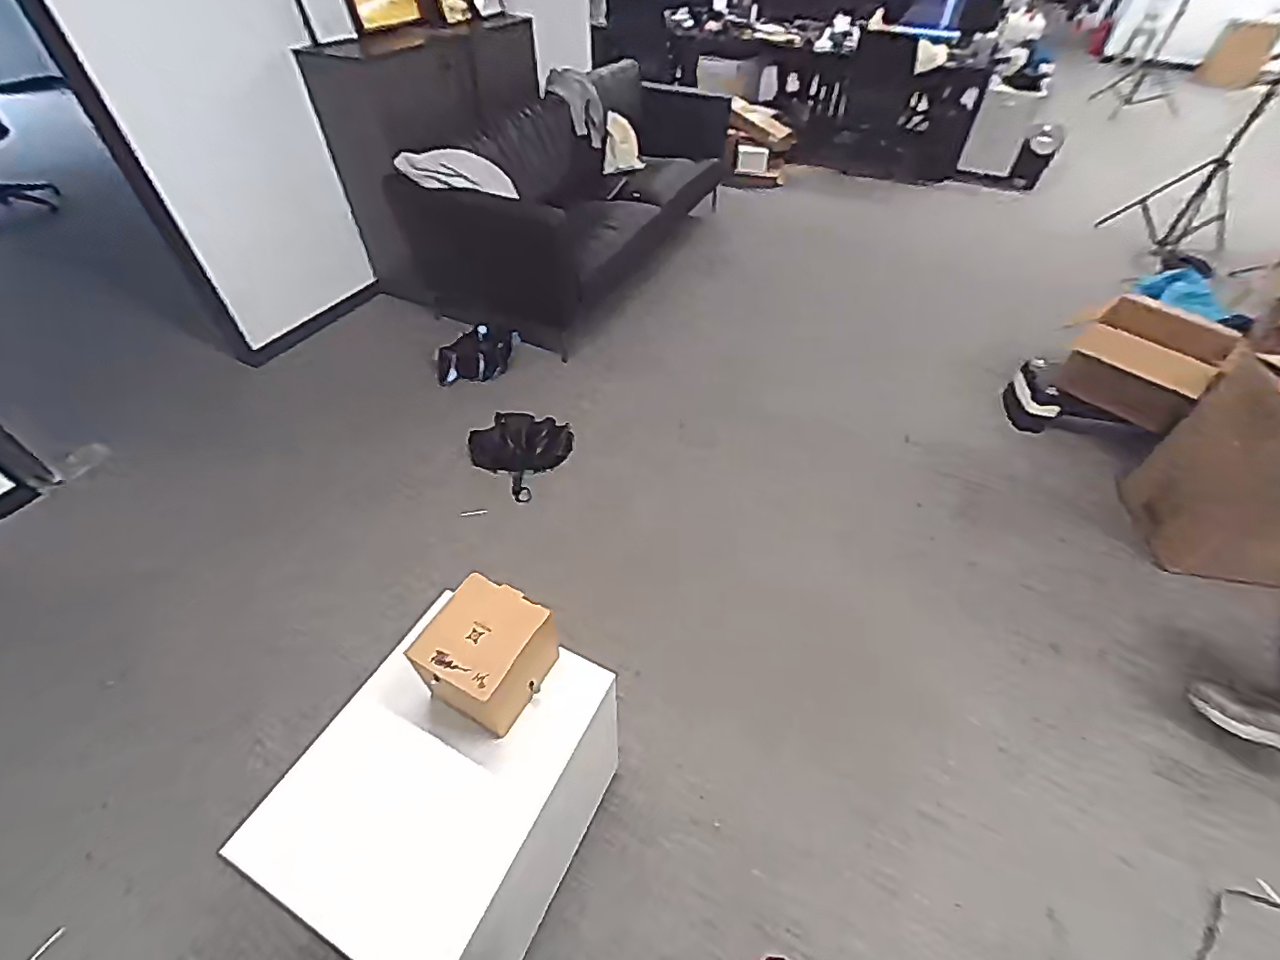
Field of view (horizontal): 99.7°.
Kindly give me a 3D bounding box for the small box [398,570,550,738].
[{"bbox_3d":[-0.265,0.291,0.905,0.168,0.176,0.179,22,48,16],"label":"small box"}]
